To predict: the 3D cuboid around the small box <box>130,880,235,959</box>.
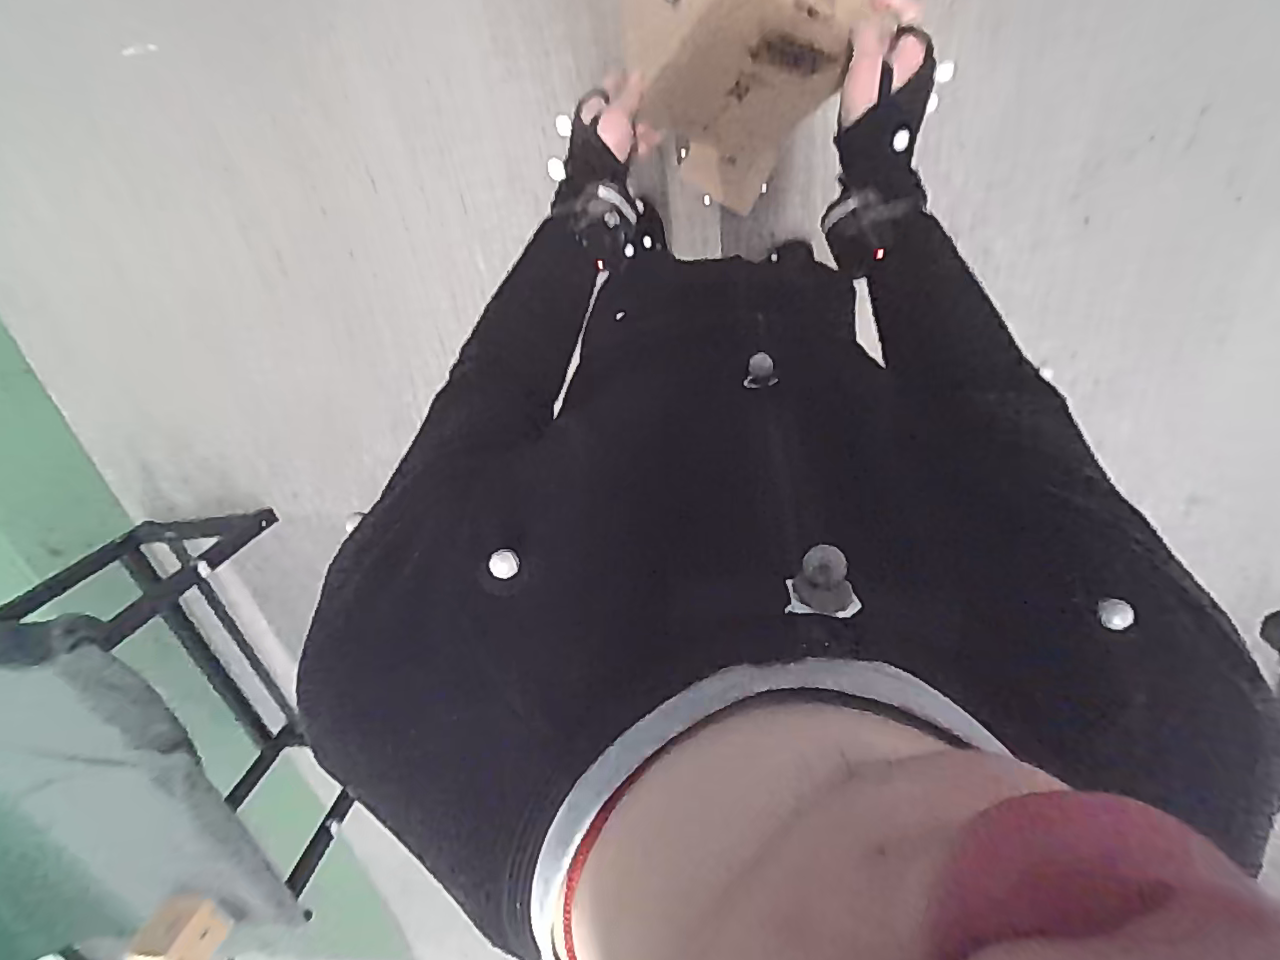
[{"bbox_3d":[-1.483,1.448,1.773,0.179,0.176,0.168,-9,116,12],"label":"small box"}]
